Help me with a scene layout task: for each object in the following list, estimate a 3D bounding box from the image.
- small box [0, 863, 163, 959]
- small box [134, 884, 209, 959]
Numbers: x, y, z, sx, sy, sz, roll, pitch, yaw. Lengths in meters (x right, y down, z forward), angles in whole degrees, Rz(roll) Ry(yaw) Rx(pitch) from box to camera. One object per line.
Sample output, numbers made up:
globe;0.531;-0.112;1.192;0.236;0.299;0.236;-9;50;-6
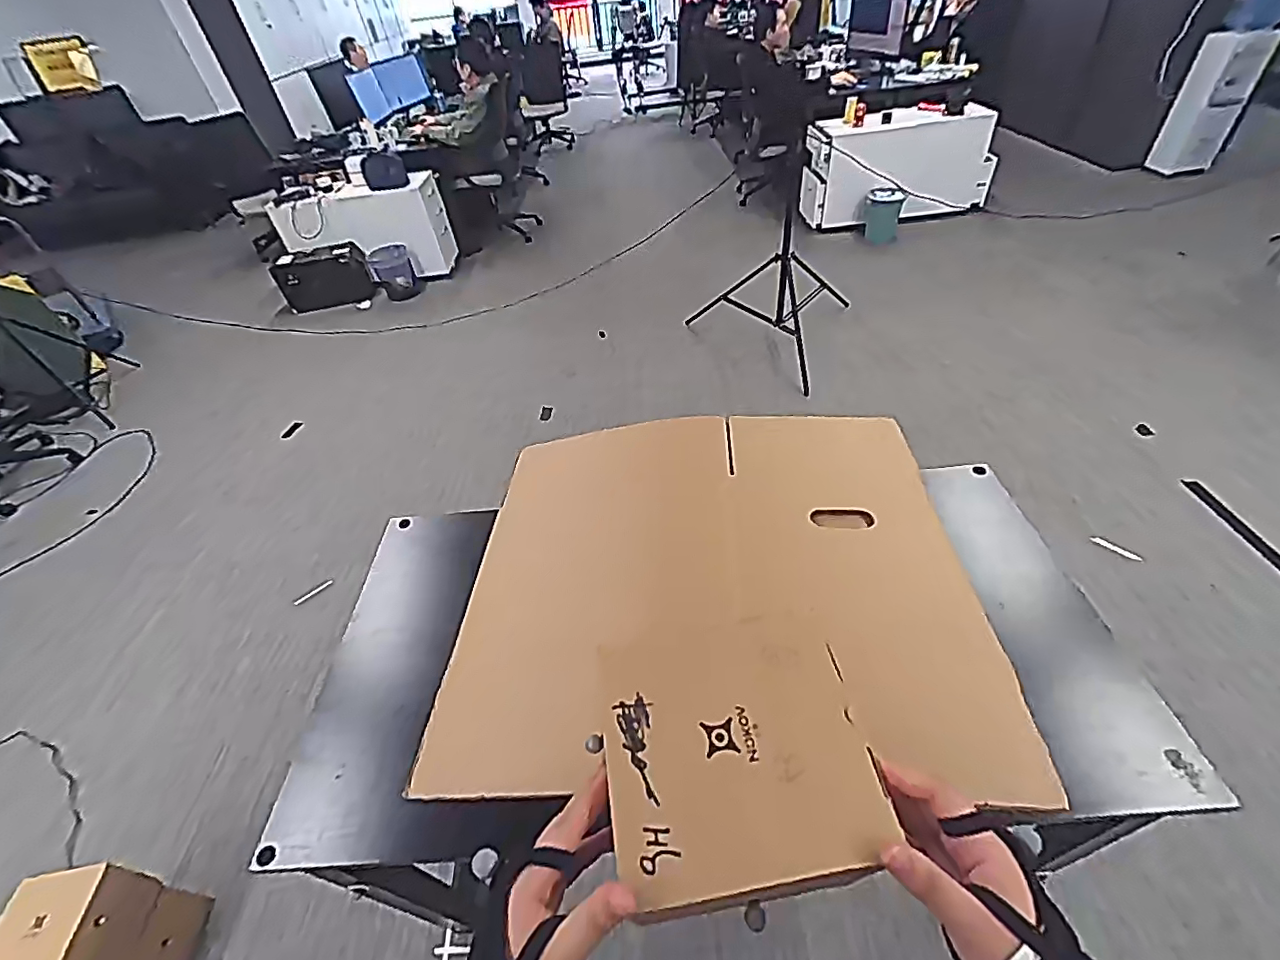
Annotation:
small box;-1.114;0.894;1.072;0.168;0.176;0.179;-10;43;-3
small box;-1.097;1.015;1.179;0.168;0.176;0.179;-8;44;0
